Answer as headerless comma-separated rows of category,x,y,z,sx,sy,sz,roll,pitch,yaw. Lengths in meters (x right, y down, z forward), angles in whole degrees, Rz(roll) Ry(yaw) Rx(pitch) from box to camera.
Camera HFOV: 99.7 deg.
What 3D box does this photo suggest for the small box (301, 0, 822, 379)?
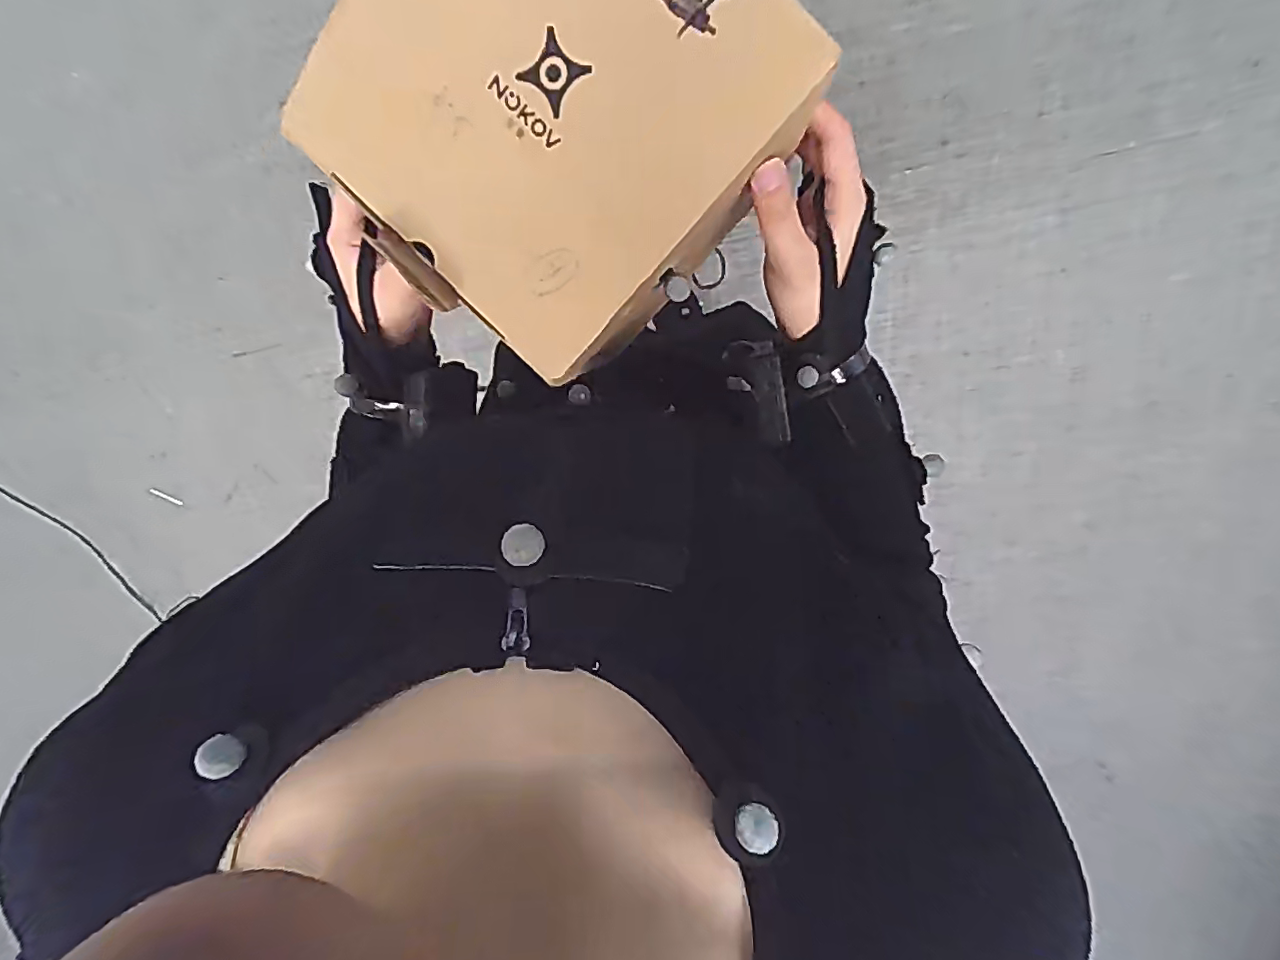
small box,-0.030,-0.182,0.305,0.168,0.176,0.179,43,107,-7
